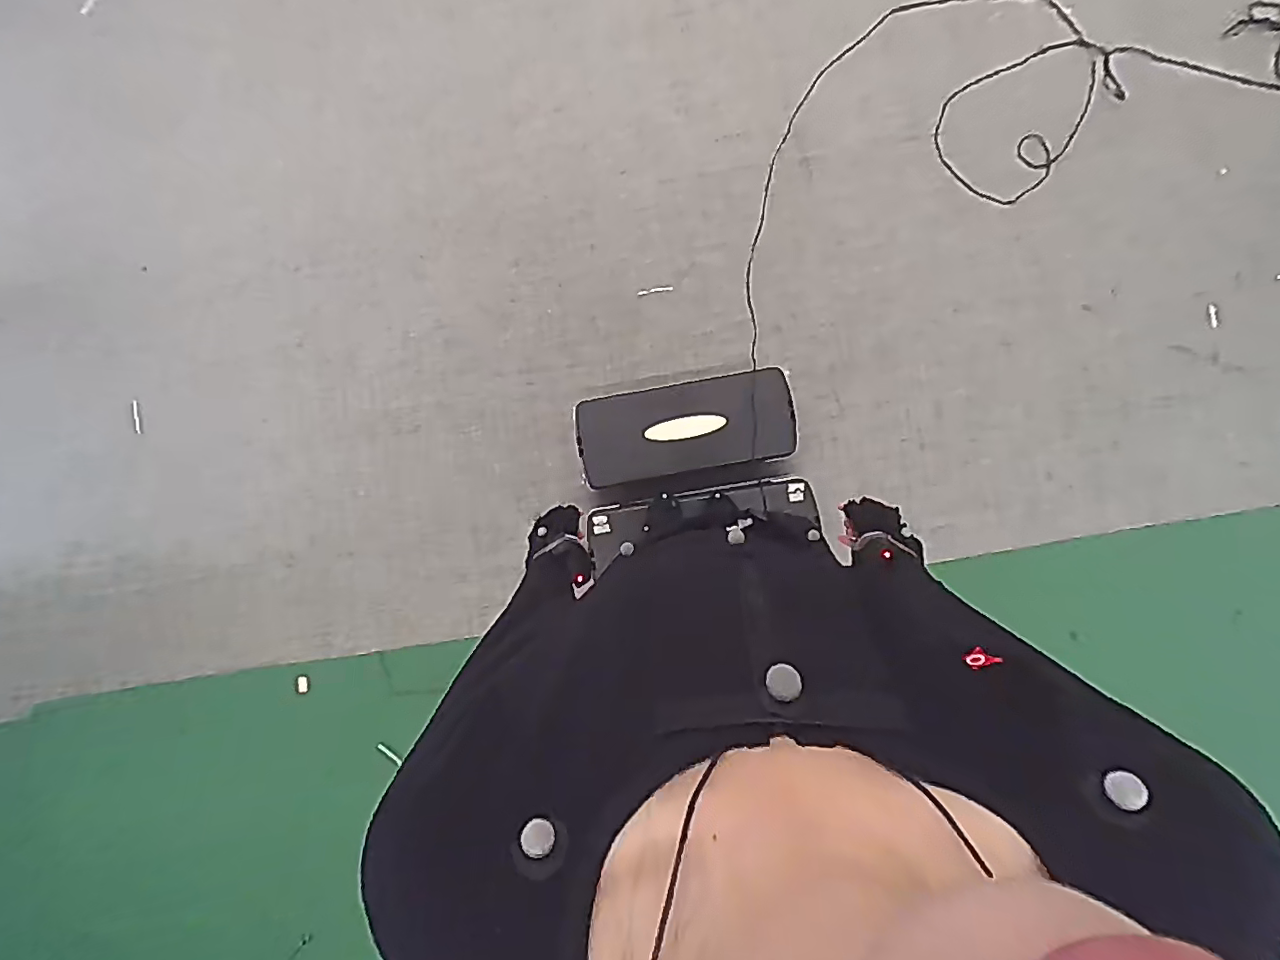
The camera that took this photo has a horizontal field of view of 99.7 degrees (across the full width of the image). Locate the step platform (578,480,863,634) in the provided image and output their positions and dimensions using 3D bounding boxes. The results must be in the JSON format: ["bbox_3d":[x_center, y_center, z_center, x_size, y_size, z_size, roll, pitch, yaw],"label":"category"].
[{"bbox_3d":[0.193,0.191,1.394,0.684,0.204,0.286,-10,88,1],"label":"step platform"}]
